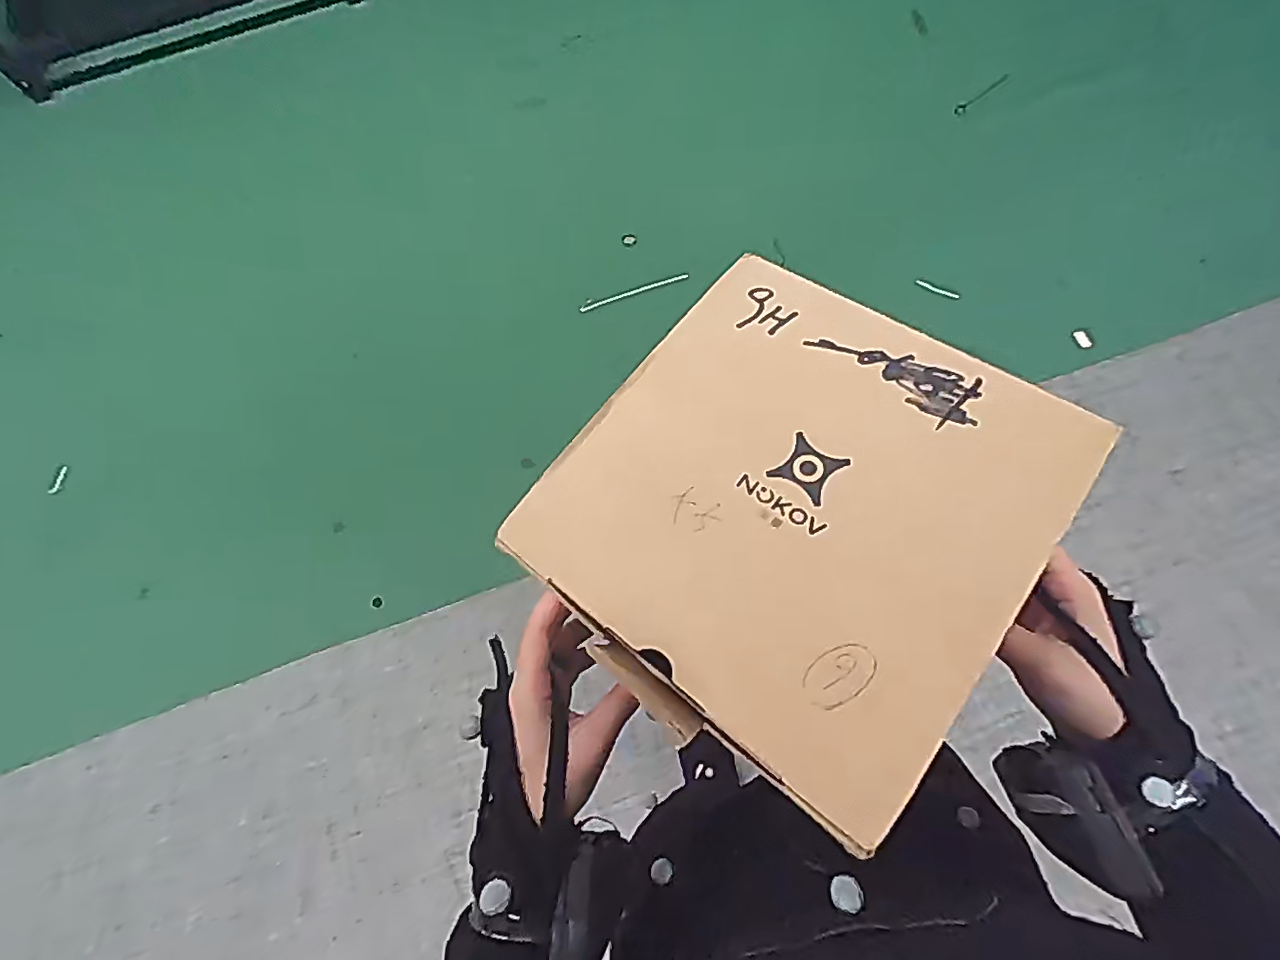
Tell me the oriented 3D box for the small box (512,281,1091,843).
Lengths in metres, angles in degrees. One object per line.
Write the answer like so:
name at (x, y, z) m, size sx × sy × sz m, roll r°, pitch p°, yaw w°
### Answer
small box at (0.071, 0.041, 0.290) m, size 0.168 × 0.176 × 0.179 m, roll 35°, pitch 76°, yaw 20°
